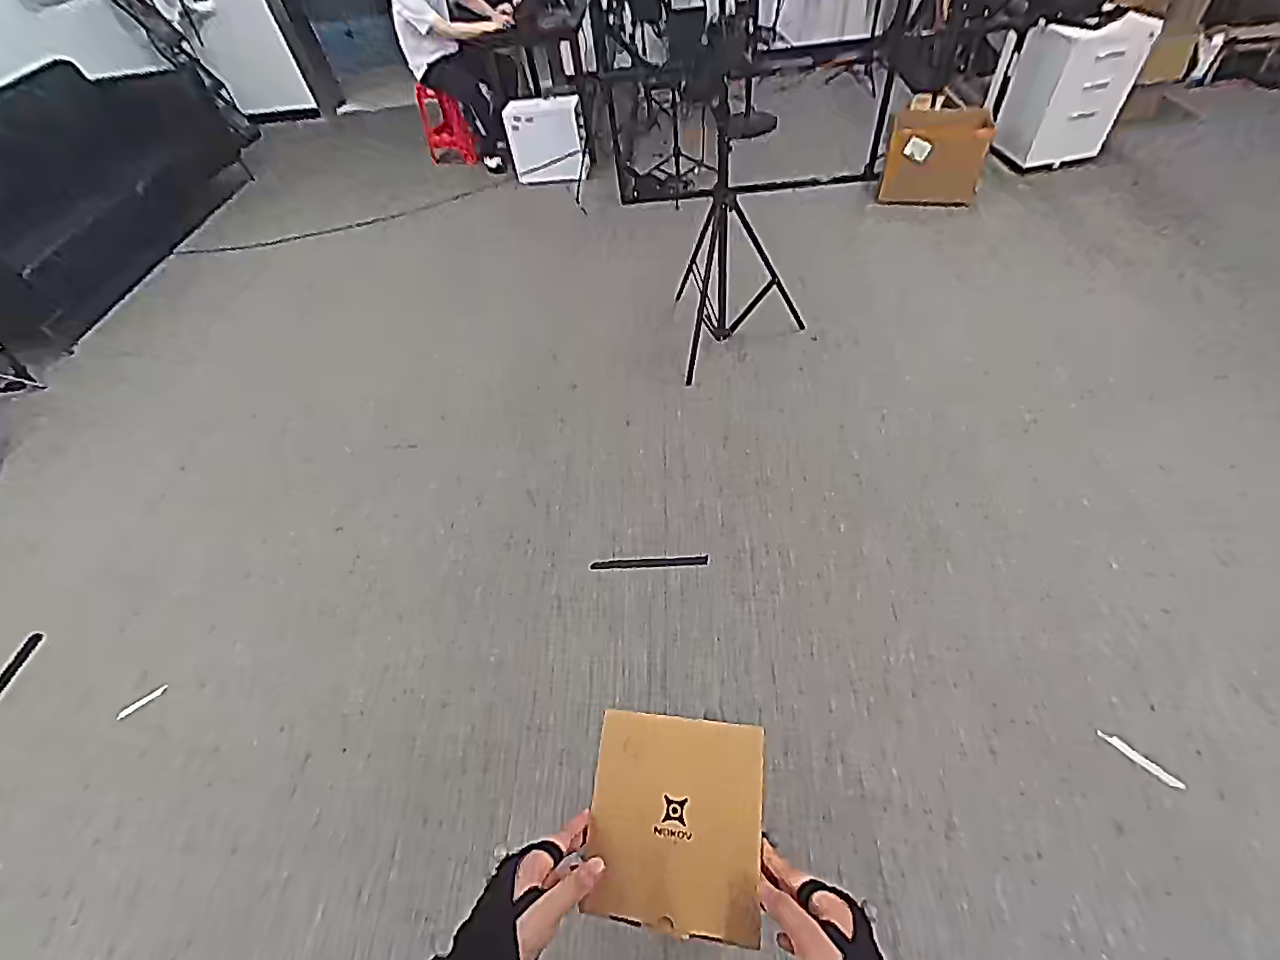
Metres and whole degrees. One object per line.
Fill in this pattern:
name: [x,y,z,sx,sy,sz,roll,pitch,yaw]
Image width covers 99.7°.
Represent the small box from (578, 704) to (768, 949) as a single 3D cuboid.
small box: [0.048,0.346,0.573,0.168,0.176,0.179,1,65,13]
